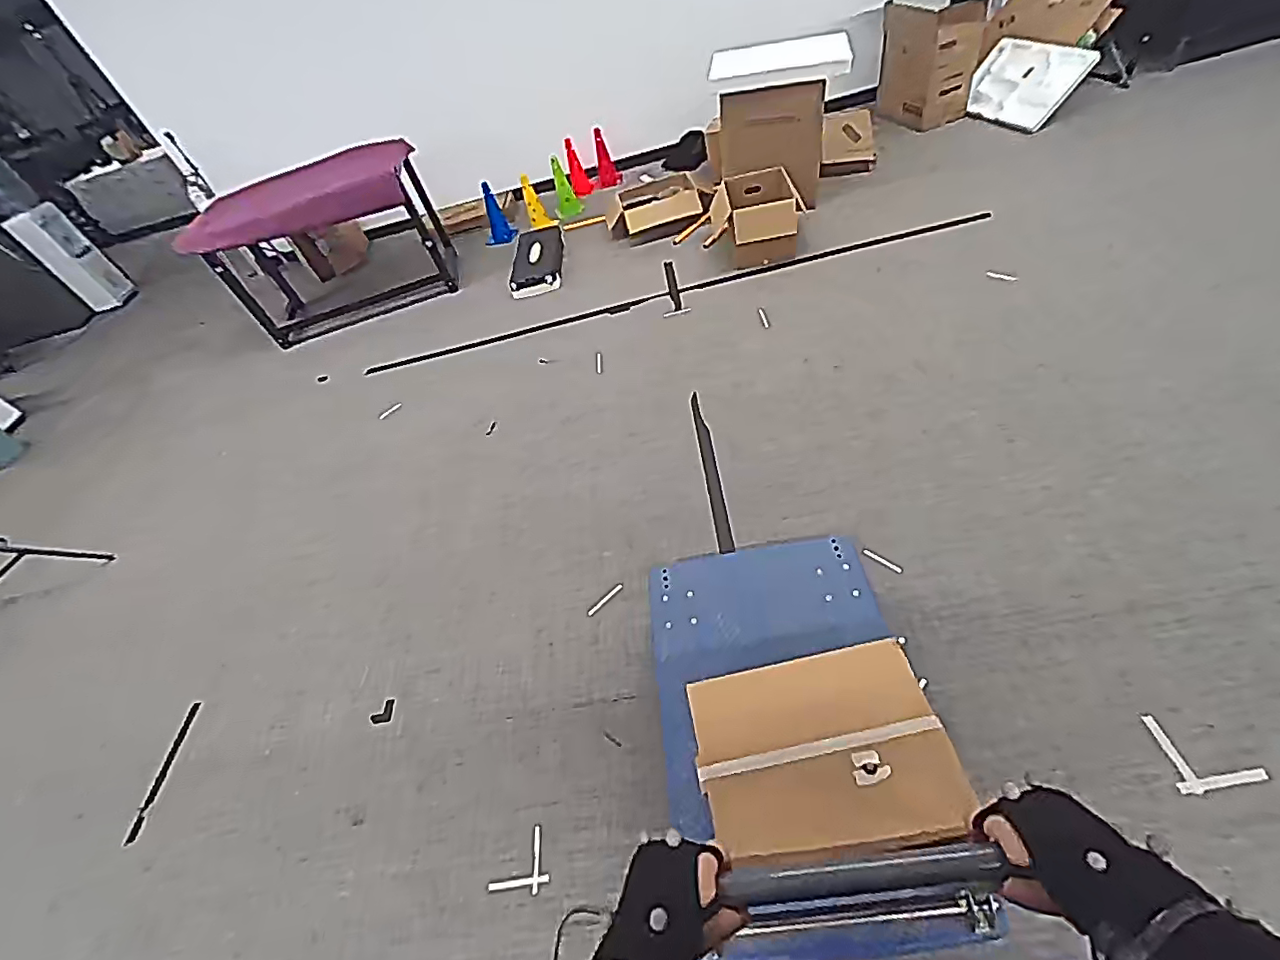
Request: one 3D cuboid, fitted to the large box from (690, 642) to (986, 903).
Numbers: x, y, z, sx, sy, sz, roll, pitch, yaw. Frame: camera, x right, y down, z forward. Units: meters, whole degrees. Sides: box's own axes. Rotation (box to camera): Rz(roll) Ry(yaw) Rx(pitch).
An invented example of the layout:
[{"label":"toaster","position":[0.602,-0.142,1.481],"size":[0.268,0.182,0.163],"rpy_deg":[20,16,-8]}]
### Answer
[{"label":"large box","position":[0.337,0.560,1.027],"size":[0.408,0.320,0.320],"rpy_deg":[-14,48,3]}]
